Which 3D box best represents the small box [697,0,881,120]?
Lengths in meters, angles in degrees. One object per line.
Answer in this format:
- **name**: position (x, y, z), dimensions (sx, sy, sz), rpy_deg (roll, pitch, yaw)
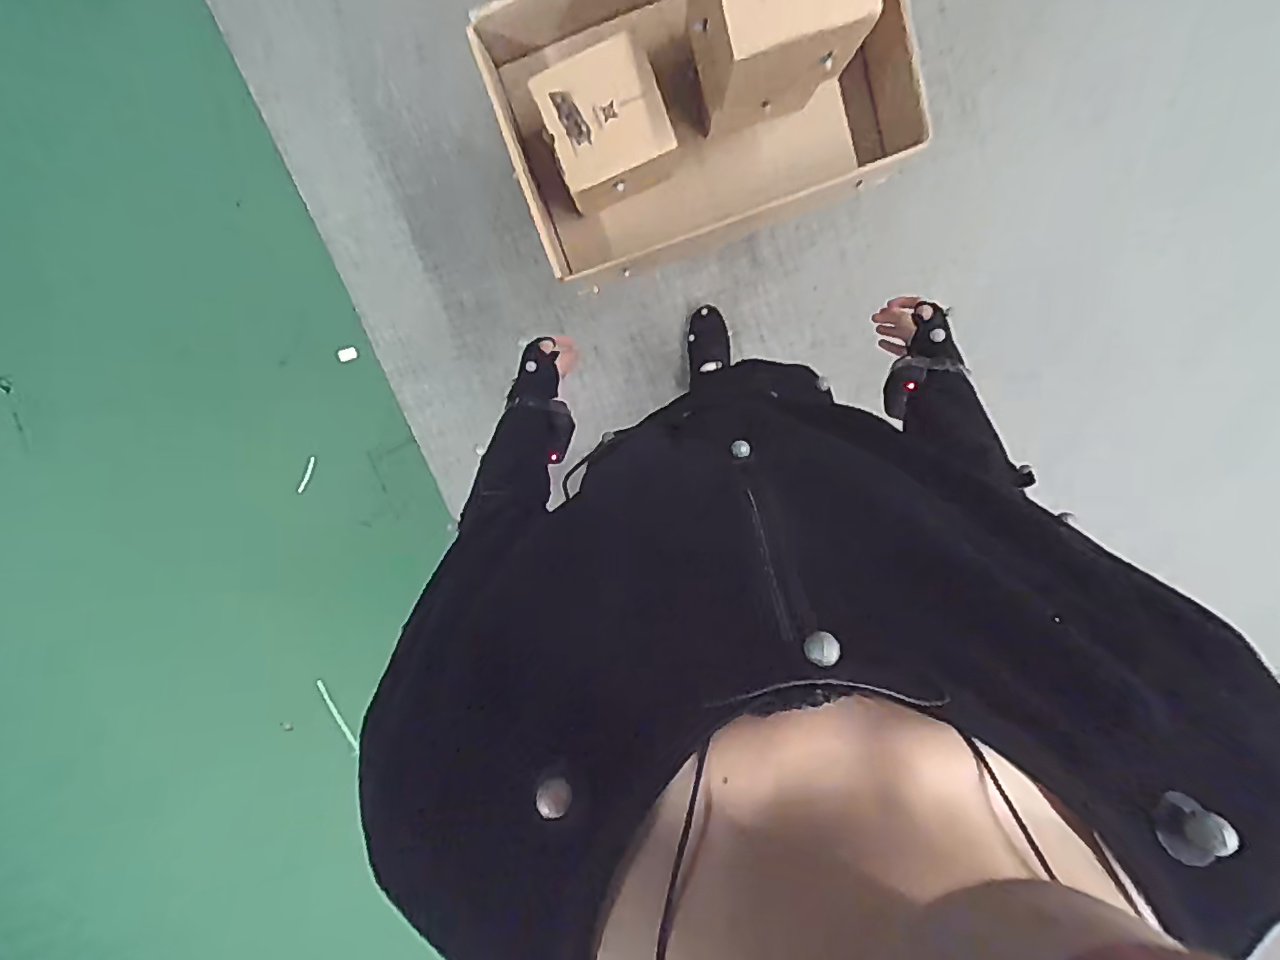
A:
- **small box**: position (0.176, -0.596, 0.682), dimensions (0.179, 0.176, 0.168), rpy_deg (-14, 103, 7)
